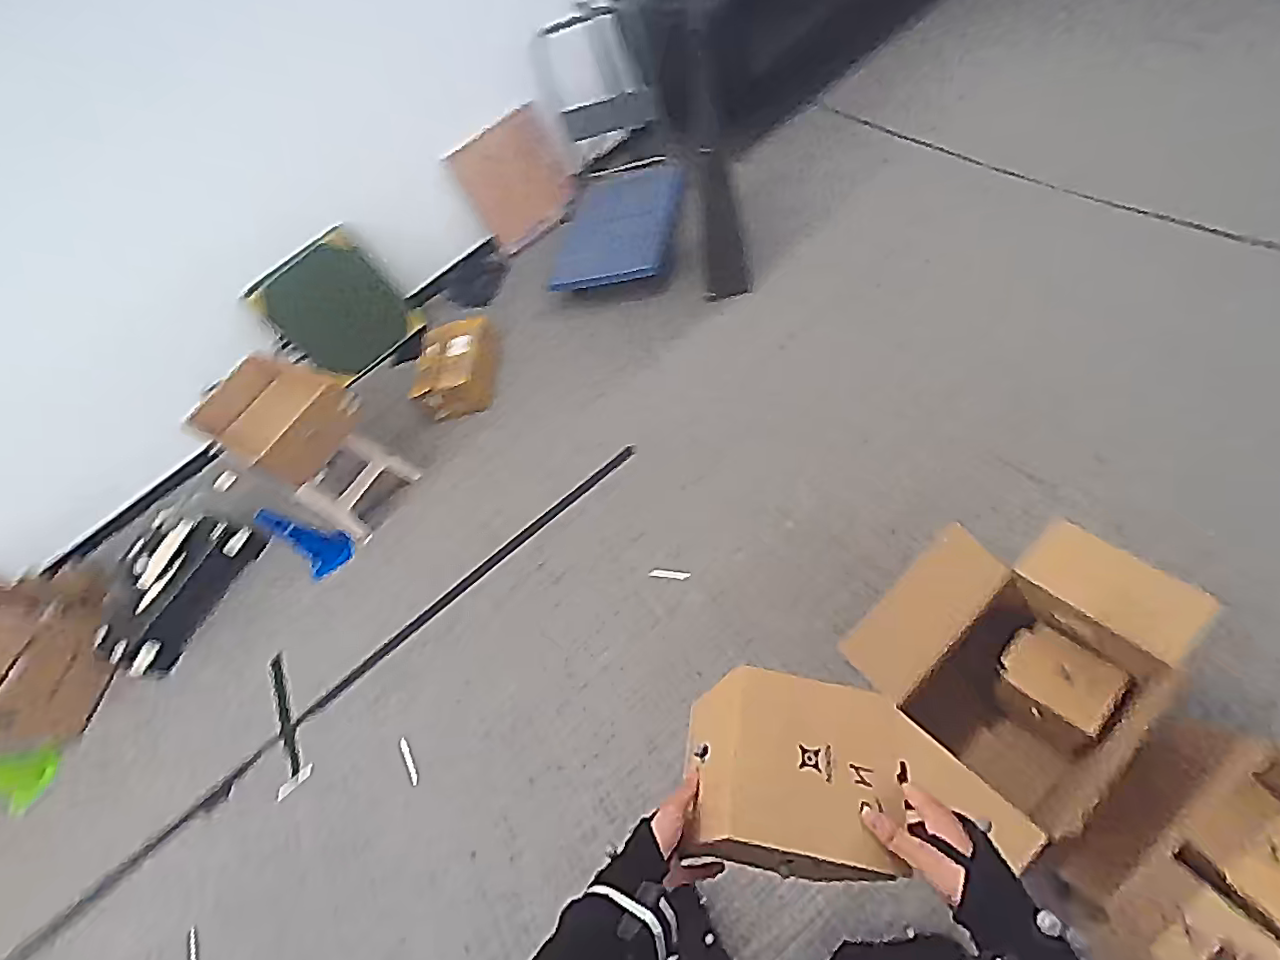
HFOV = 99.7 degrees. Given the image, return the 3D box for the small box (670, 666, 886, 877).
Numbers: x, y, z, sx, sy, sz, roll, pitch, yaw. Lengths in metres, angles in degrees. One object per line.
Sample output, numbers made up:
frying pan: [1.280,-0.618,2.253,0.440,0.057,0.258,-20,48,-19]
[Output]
small box: [0.144,0.335,0.612,0.179,0.176,0.168,16,52,-5]
